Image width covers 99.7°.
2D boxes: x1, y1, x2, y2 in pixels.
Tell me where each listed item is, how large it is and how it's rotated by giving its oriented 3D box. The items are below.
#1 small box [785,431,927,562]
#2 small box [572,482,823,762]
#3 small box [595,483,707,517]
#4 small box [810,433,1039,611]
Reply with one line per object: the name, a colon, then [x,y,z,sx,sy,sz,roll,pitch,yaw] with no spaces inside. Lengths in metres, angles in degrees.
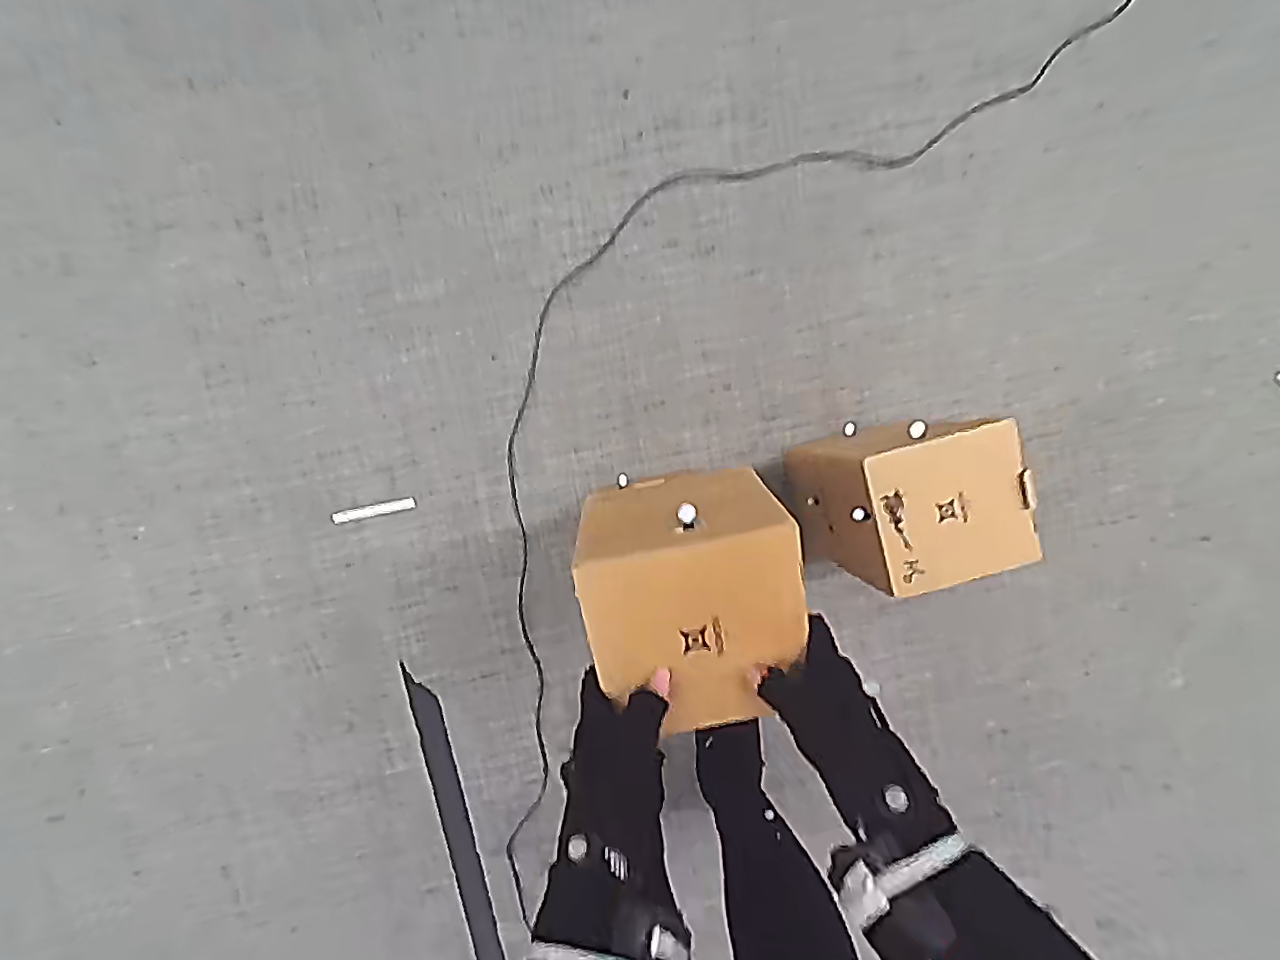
small box: [0.340,0.029,0.838,0.168,0.176,0.179,-15,95,-1]
small box: [0.045,0.113,0.490,0.179,0.176,0.168,-11,108,0]
small box: [0.028,0.103,0.834,0.168,0.176,0.179,-11,95,-1]
small box: [0.339,0.040,0.673,0.179,0.176,0.168,-15,94,-2]
